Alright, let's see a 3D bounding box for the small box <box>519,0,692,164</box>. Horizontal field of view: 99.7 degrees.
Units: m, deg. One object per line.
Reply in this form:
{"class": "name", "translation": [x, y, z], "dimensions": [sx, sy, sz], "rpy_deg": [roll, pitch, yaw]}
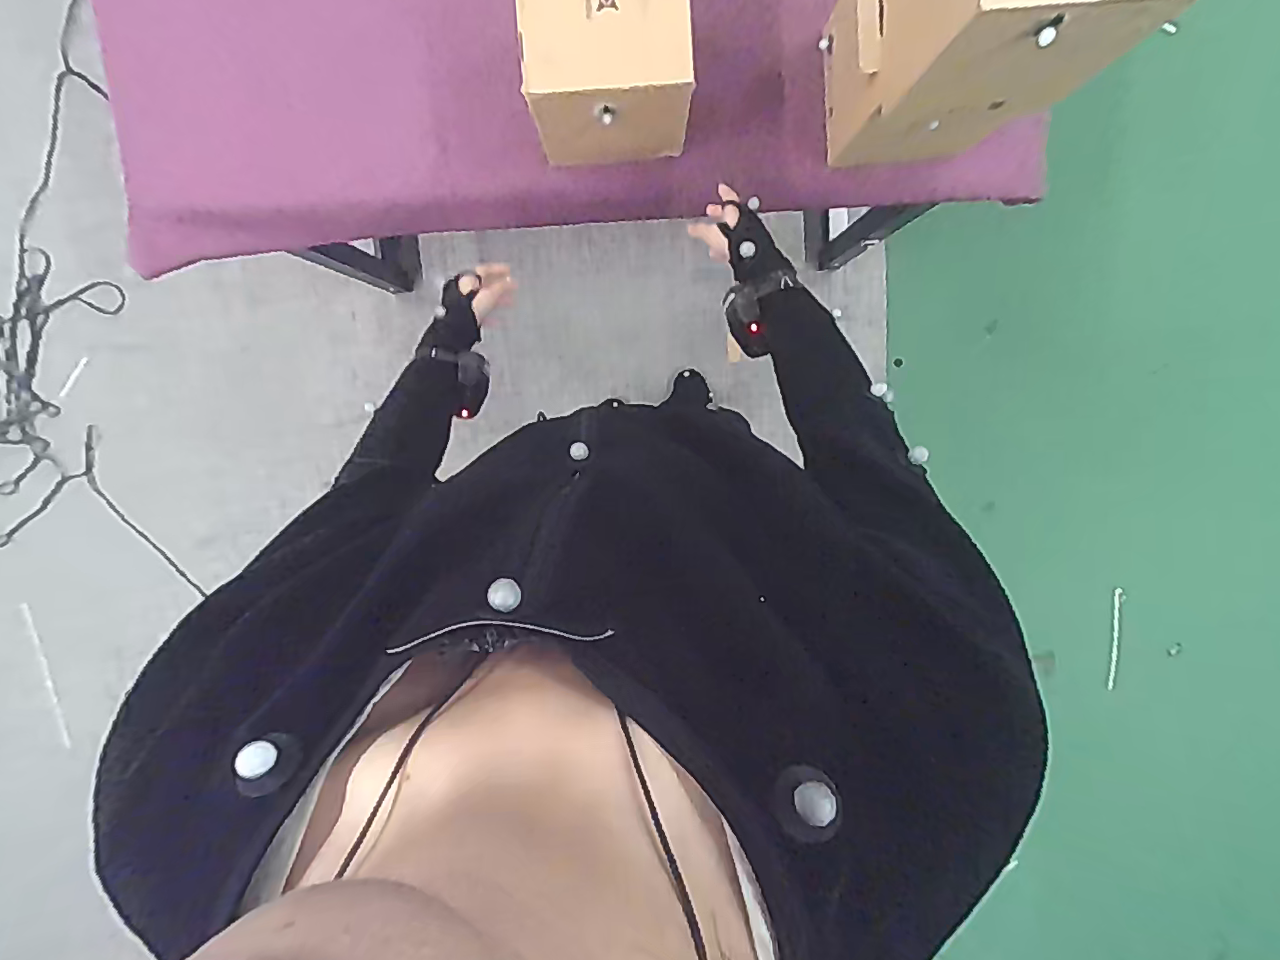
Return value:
{"class": "small box", "translation": [-0.034, -0.486, 0.622], "dimensions": [0.179, 0.176, 0.168], "rpy_deg": [-3, 98, 1]}

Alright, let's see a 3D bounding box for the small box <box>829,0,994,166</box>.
{"class": "small box", "translation": [0.325, -0.483, 0.618], "dimensions": [0.179, 0.176, 0.168], "rpy_deg": [-5, 99, 1]}

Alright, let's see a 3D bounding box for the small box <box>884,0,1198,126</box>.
{"class": "small box", "translation": [0.323, -0.439, 0.458], "dimensions": [0.168, 0.176, 0.179], "rpy_deg": [-3, 98, 2]}
